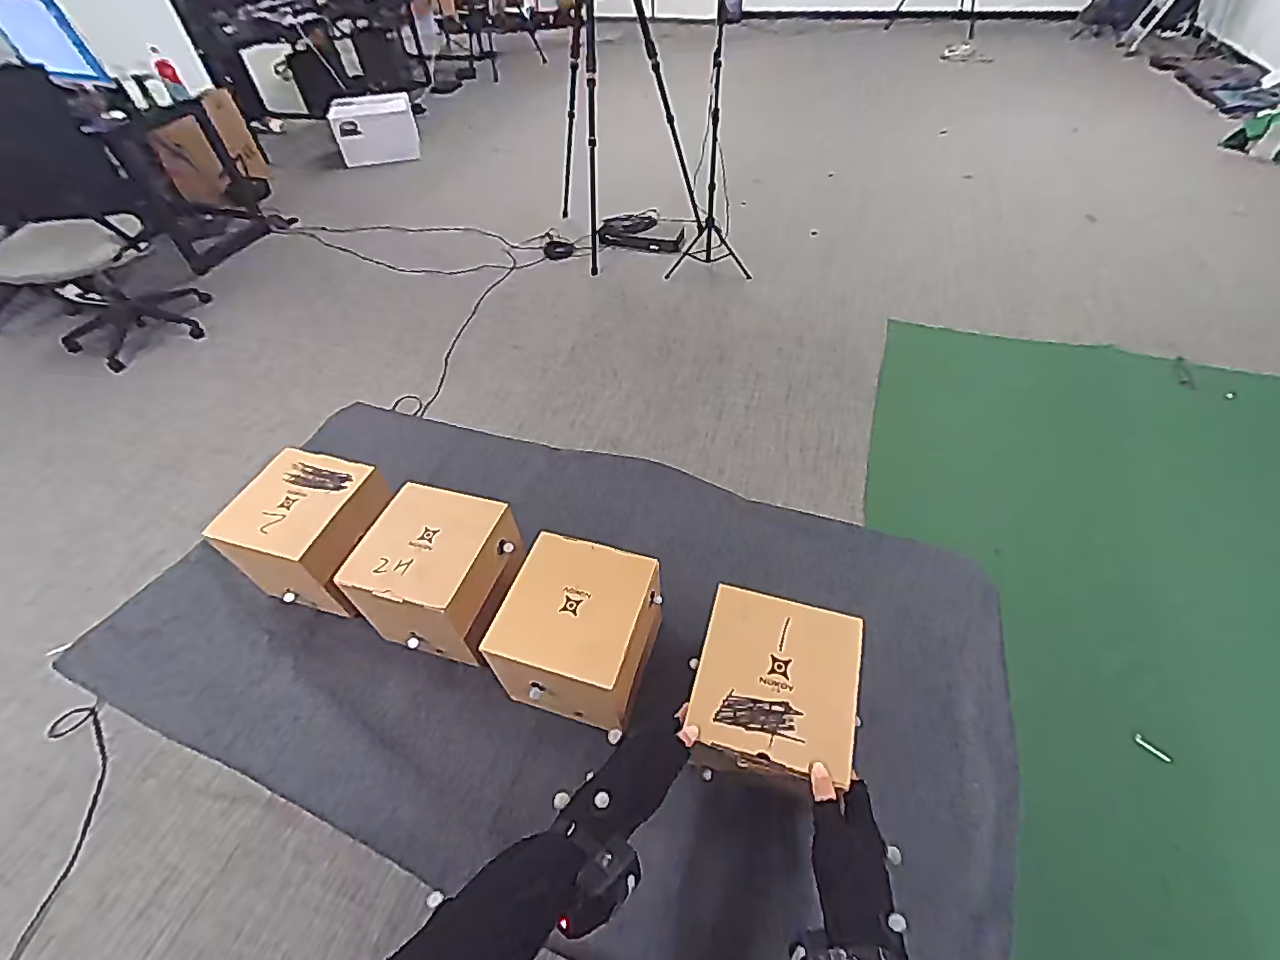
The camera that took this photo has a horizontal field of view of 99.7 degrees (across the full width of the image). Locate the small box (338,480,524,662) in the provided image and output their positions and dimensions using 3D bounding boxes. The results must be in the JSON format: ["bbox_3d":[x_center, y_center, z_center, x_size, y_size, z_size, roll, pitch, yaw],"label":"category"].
[{"bbox_3d":[-0.281,0.131,0.778,0.168,0.176,0.179,11,50,13],"label":"small box"}]

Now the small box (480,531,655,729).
[{"bbox_3d":[-0.078,0.199,0.711,0.168,0.176,0.179,12,50,13],"label":"small box"}]
